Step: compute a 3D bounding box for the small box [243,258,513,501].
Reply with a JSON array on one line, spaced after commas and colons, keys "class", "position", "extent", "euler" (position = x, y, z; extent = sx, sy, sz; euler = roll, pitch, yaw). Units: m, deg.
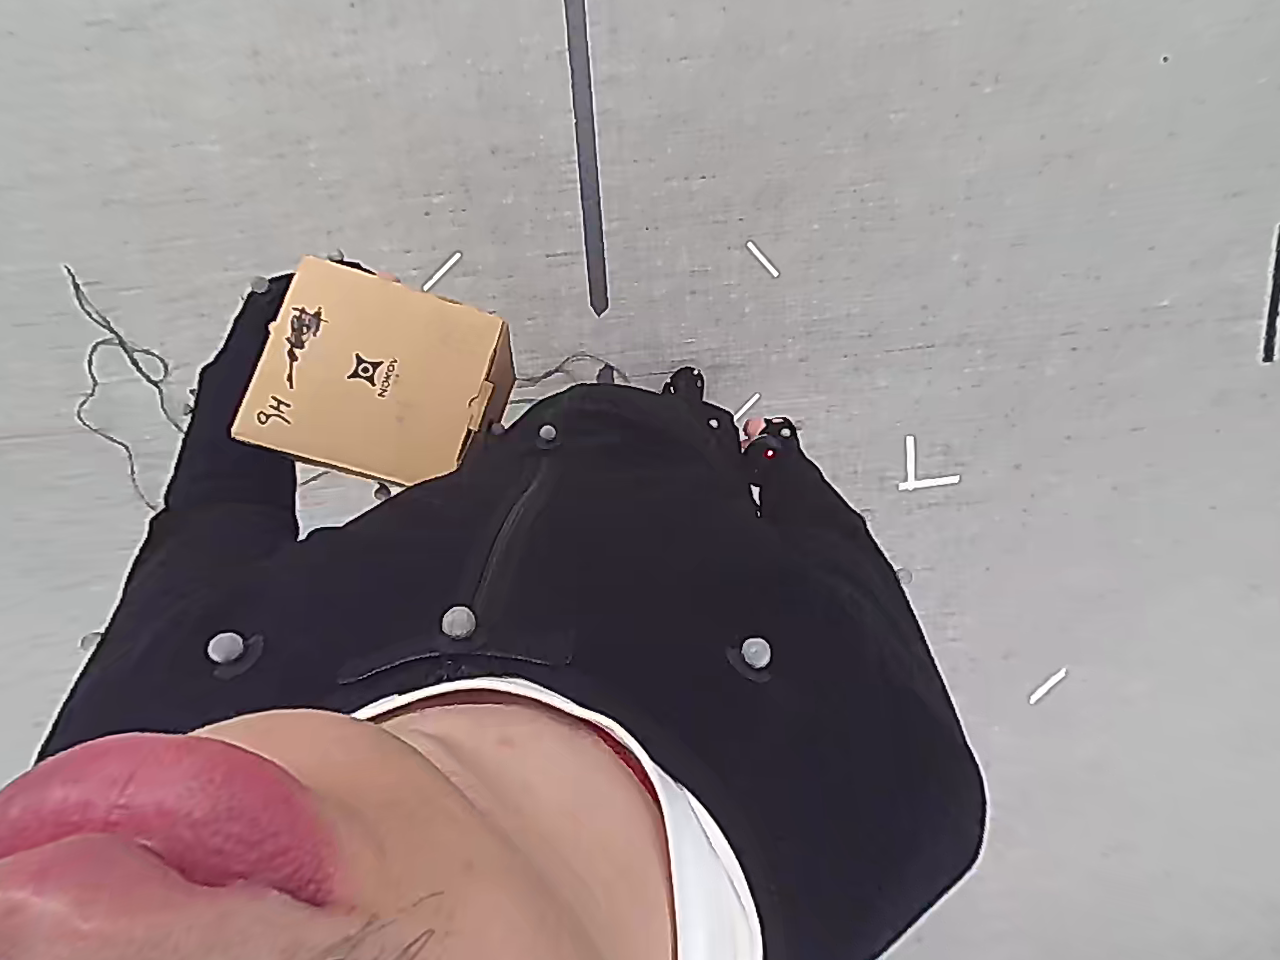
[{"class": "small box", "position": [-0.232, -0.080, 0.537], "extent": [0.179, 0.176, 0.168], "euler": [16, 80, -9]}]
